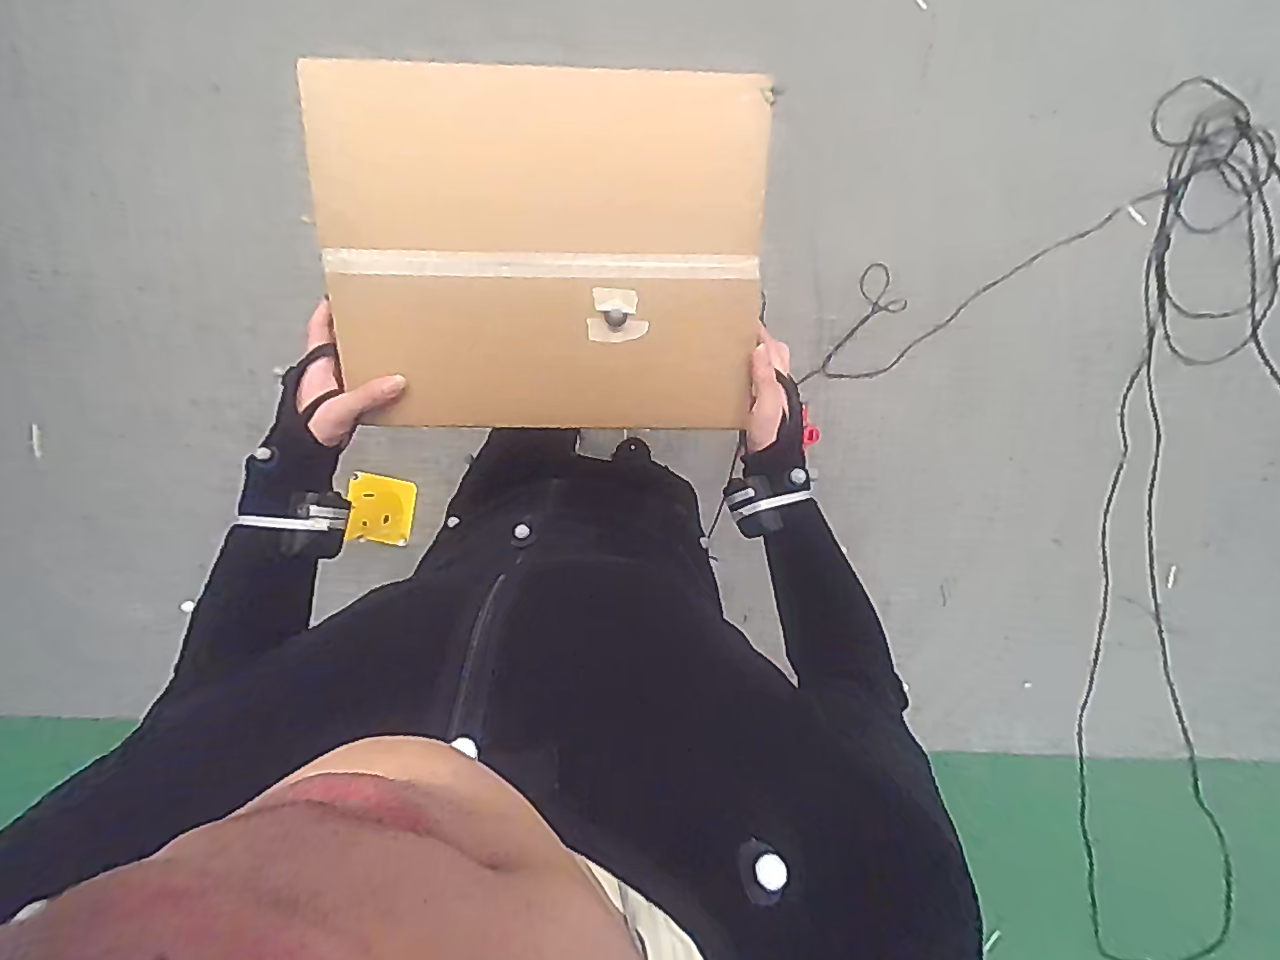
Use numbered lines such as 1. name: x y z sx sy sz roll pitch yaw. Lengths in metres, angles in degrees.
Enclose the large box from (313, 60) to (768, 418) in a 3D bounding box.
1. large box: -0.092 -0.257 0.655 0.408 0.320 0.320 0 108 -3
